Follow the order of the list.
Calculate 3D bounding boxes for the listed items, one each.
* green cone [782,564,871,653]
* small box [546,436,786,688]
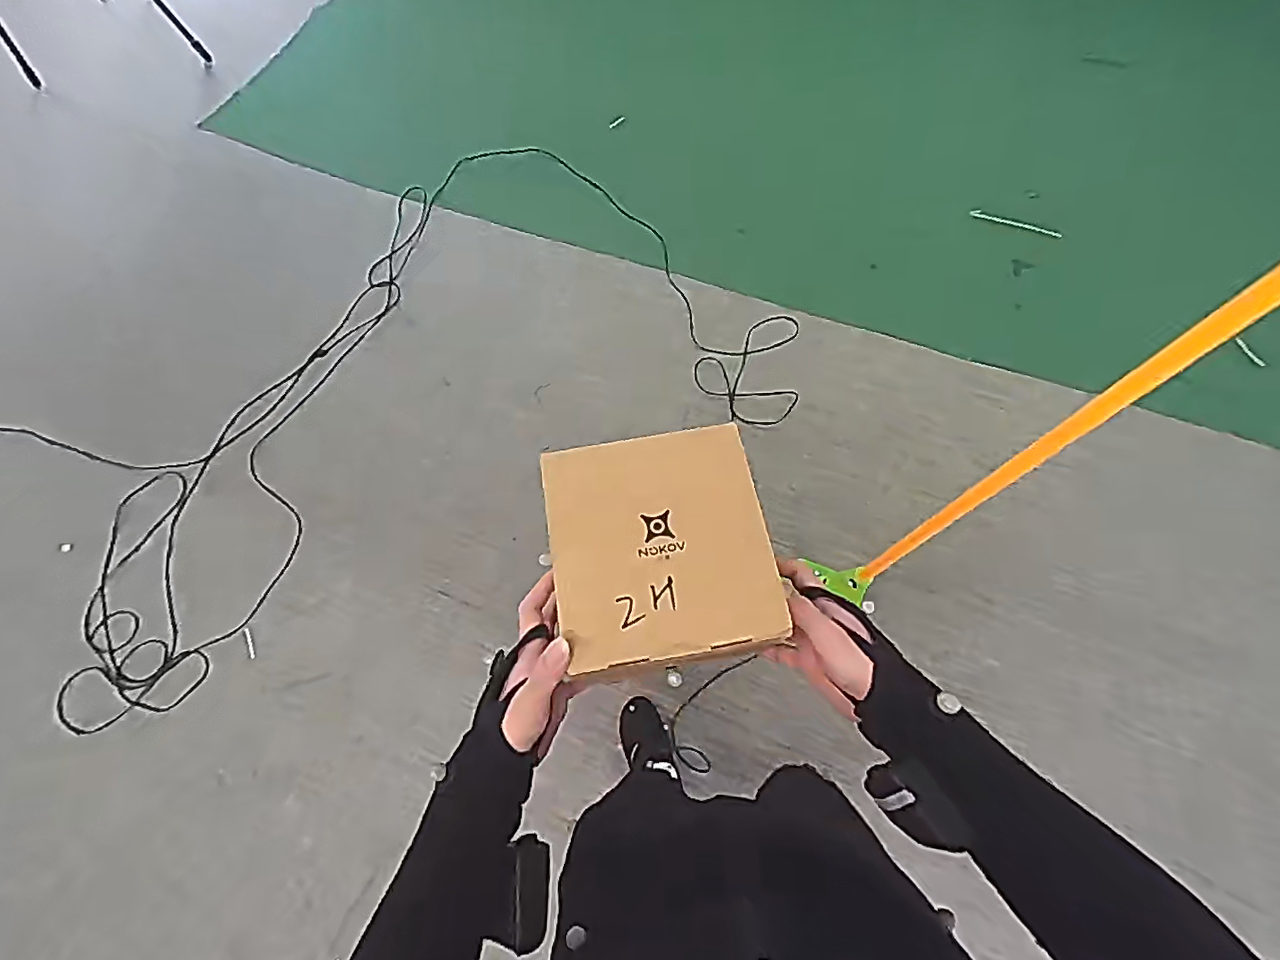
[{"bbox_3d":[0.499,0.283,1.334,0.202,0.368,0.200,20,69,12],"label":"green cone"},{"bbox_3d":[0.014,0.083,0.491,0.168,0.176,0.179,-9,67,-2],"label":"small box"}]
